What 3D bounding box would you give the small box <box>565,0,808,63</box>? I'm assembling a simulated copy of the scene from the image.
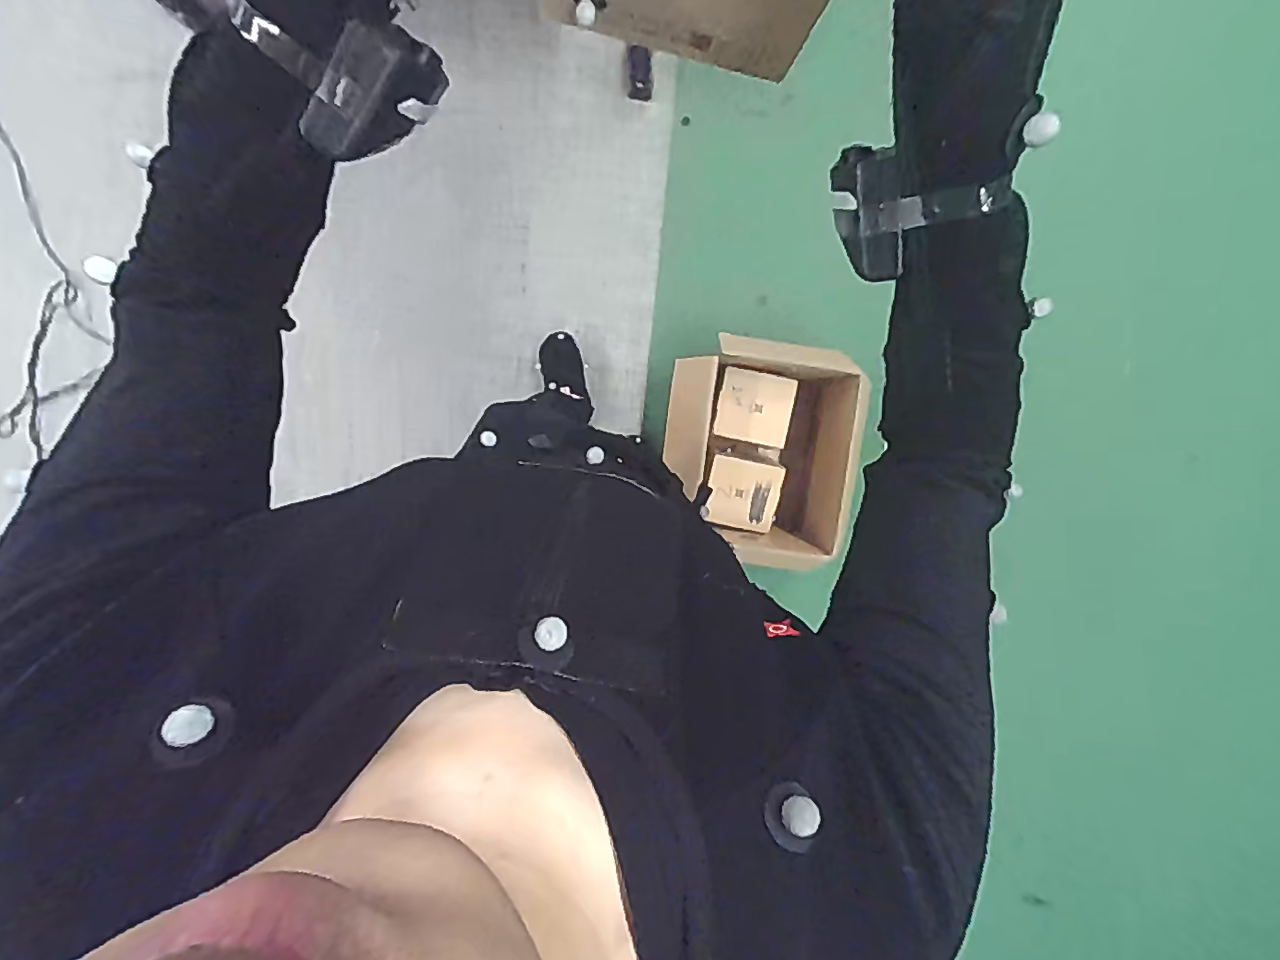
[{"bbox_3d":[0.033,-0.354,0.260,0.168,0.176,0.179,9,96,-7],"label":"small box"}]
